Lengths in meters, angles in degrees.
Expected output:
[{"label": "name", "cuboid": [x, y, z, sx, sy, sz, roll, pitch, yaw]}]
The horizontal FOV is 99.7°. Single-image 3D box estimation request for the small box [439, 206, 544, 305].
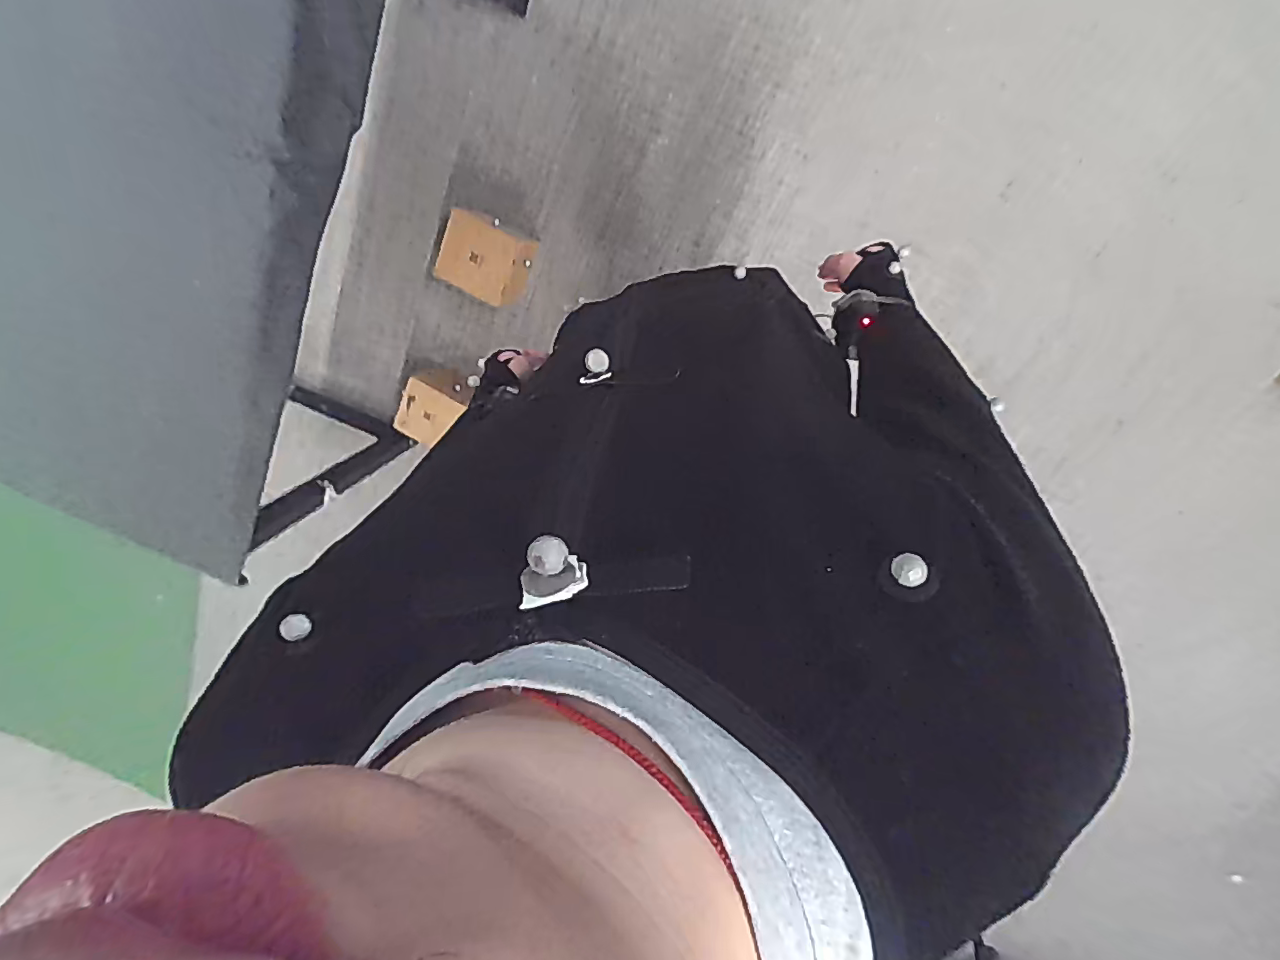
[{"label": "small box", "cuboid": [-0.366, -0.563, 1.362, 0.179, 0.176, 0.168, 28, 113, -1]}]
